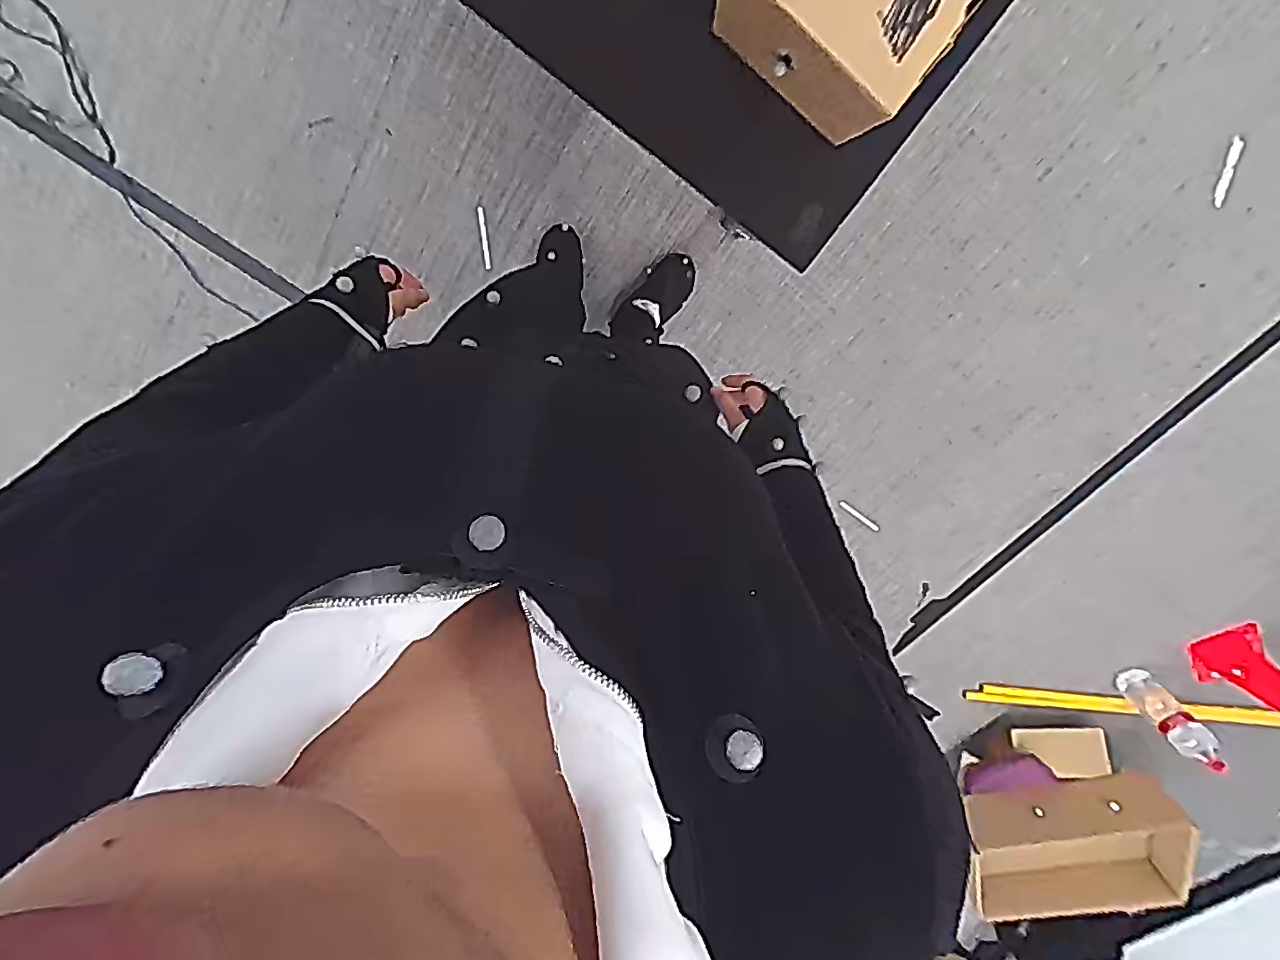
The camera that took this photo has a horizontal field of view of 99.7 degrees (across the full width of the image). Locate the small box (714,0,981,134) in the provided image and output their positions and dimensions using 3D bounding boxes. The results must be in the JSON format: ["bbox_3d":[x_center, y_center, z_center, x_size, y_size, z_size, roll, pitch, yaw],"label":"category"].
[{"bbox_3d":[0.182,-0.431,0.461,0.179,0.176,0.168,35,112,-11],"label":"small box"}]
